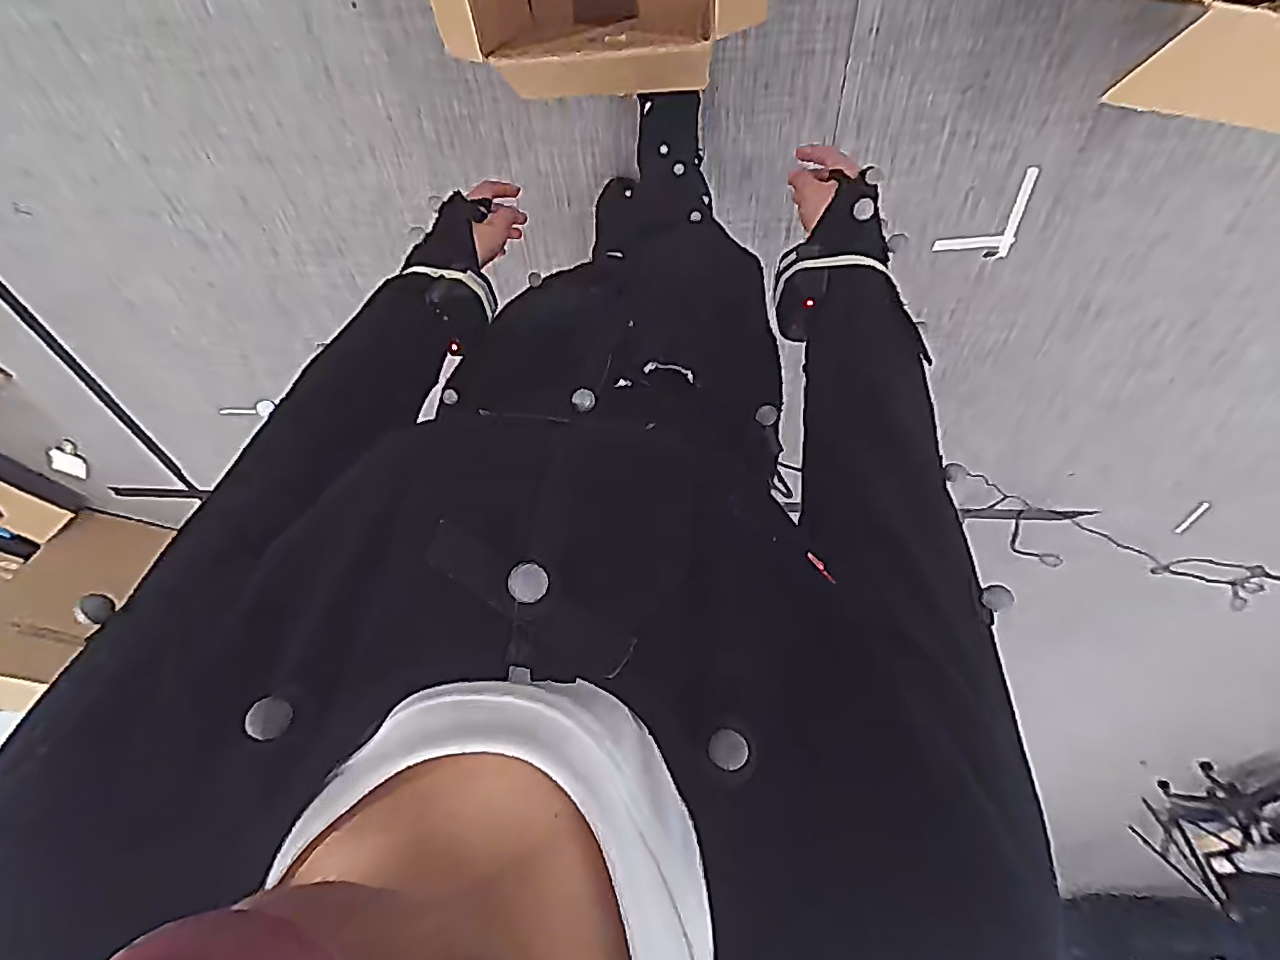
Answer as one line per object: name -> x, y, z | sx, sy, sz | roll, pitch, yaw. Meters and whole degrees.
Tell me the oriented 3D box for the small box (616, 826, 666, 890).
small box -> 0.005, 1.421, 2.036 | 0.179, 0.176, 0.168 | 6, 135, 2
